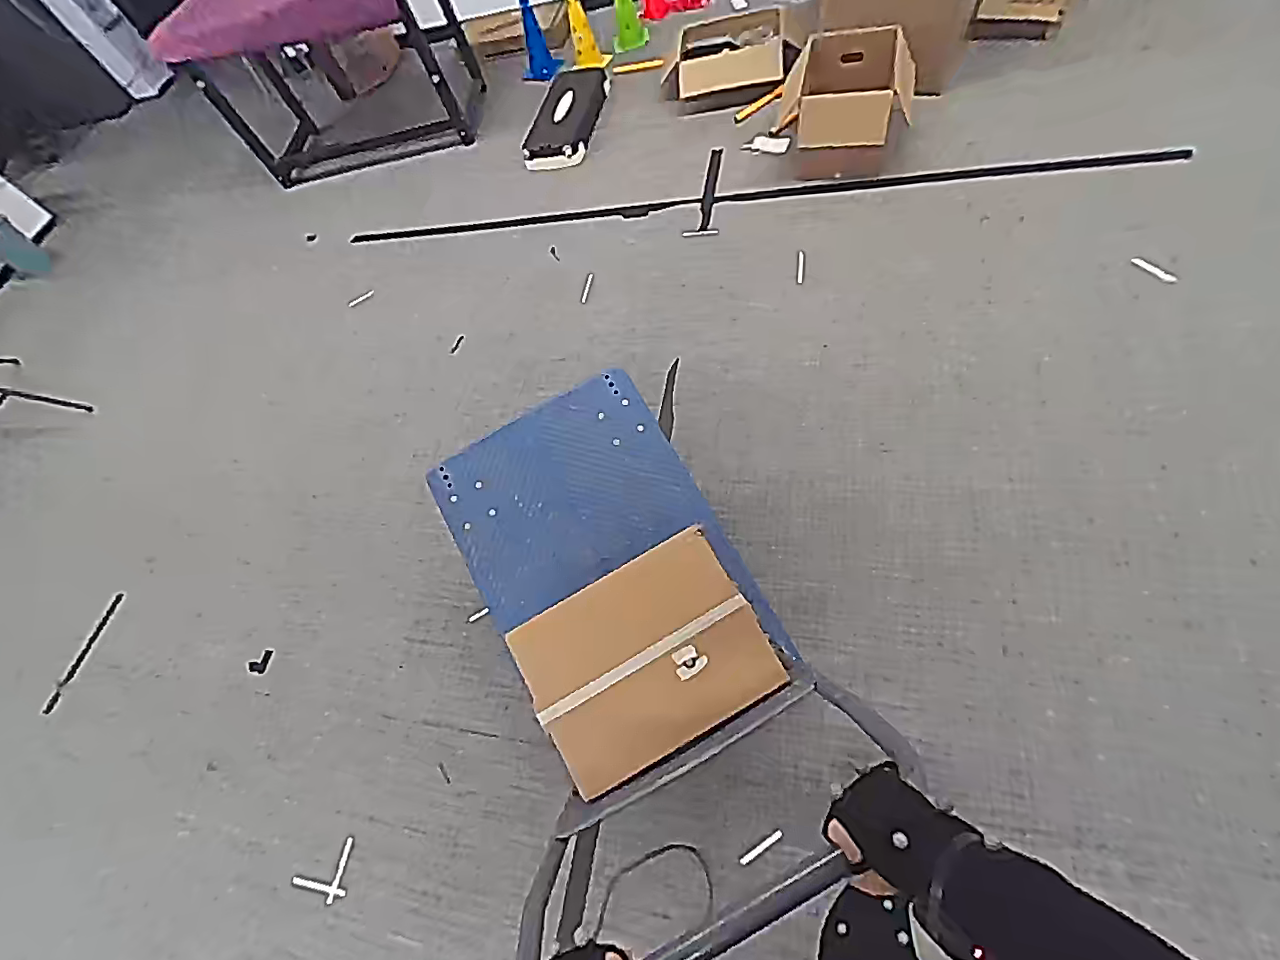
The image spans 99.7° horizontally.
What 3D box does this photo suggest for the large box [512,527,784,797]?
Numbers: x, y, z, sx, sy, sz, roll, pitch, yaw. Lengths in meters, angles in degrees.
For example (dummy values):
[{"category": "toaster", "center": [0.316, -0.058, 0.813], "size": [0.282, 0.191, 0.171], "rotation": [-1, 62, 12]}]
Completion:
[{"category": "large box", "center": [0.017, 0.350, 1.106], "size": [0.408, 0.320, 0.320], "rotation": [-30, 77, -4]}]
